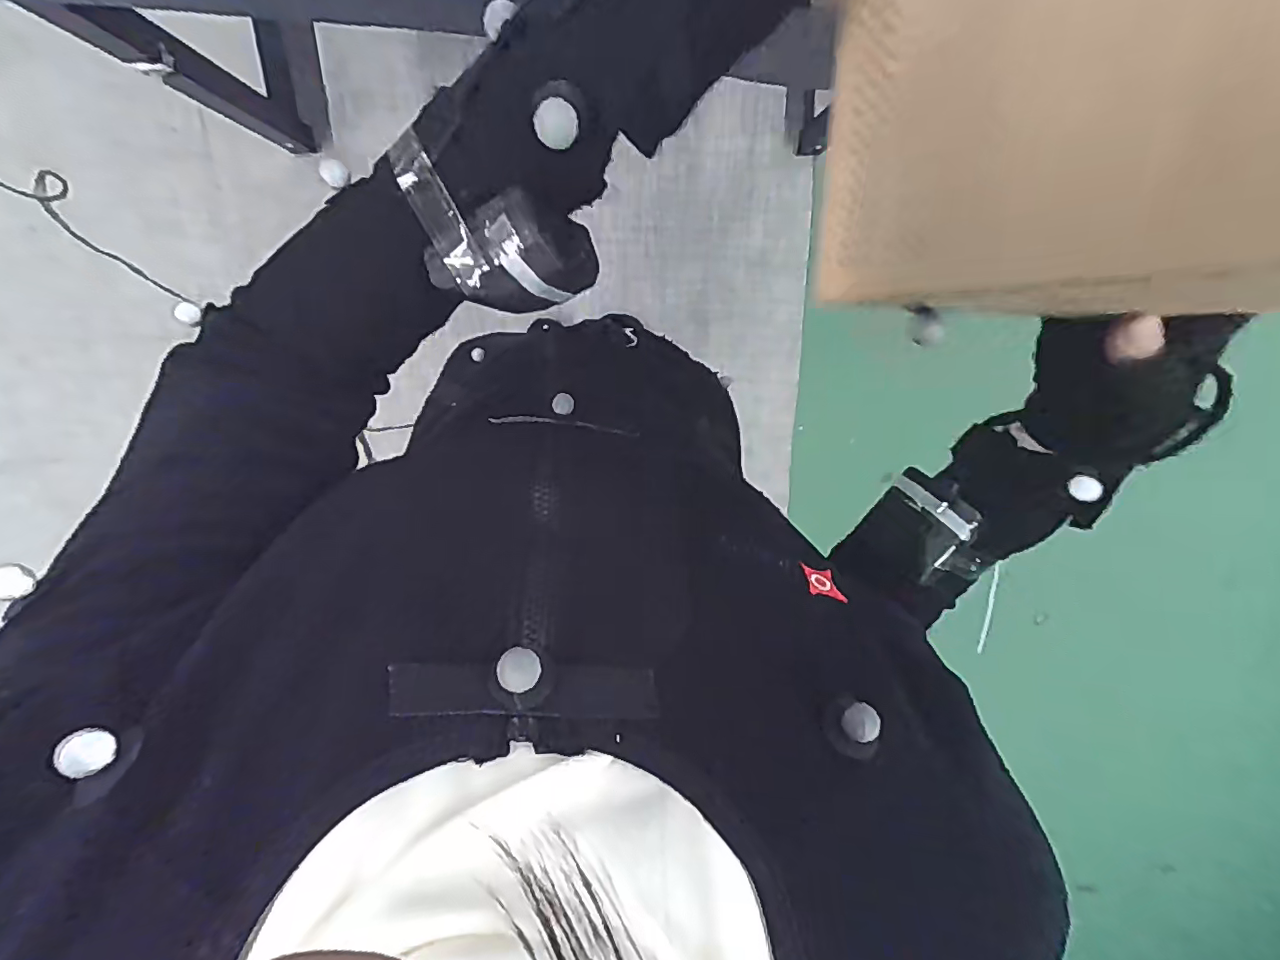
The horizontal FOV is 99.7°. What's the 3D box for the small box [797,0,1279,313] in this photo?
[{"bbox_3d":[0.170,-0.147,0.168,0.168,0.176,0.179,-3,106,-21],"label":"small box"}]
